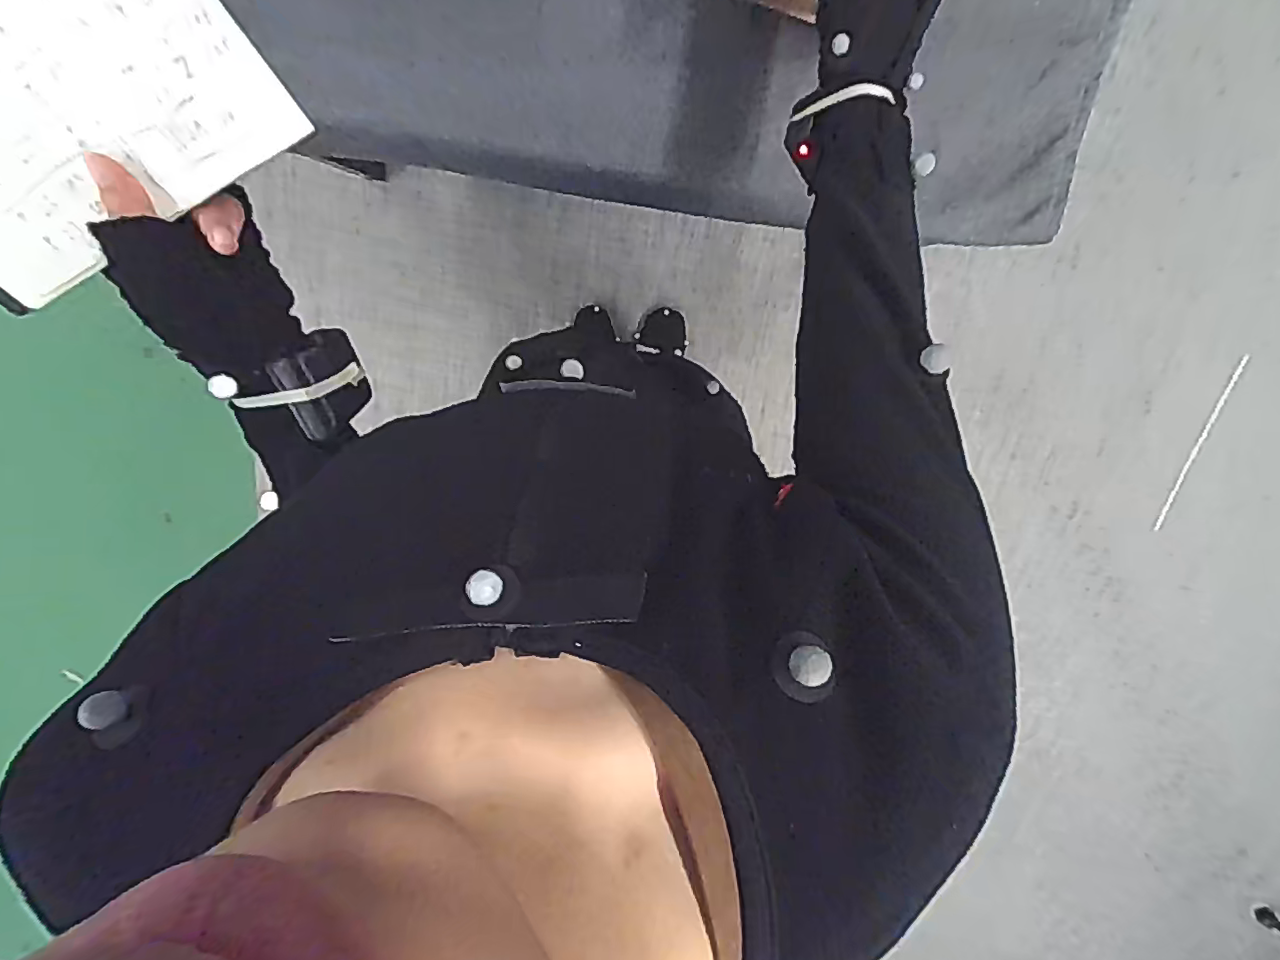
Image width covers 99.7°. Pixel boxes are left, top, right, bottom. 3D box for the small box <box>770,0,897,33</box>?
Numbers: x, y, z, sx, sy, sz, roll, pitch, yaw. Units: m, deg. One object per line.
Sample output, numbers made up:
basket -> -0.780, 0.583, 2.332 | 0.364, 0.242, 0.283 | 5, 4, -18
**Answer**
small box -> 0.182, -0.528, 0.449 | 0.168, 0.176, 0.179 | 10, 101, -9
